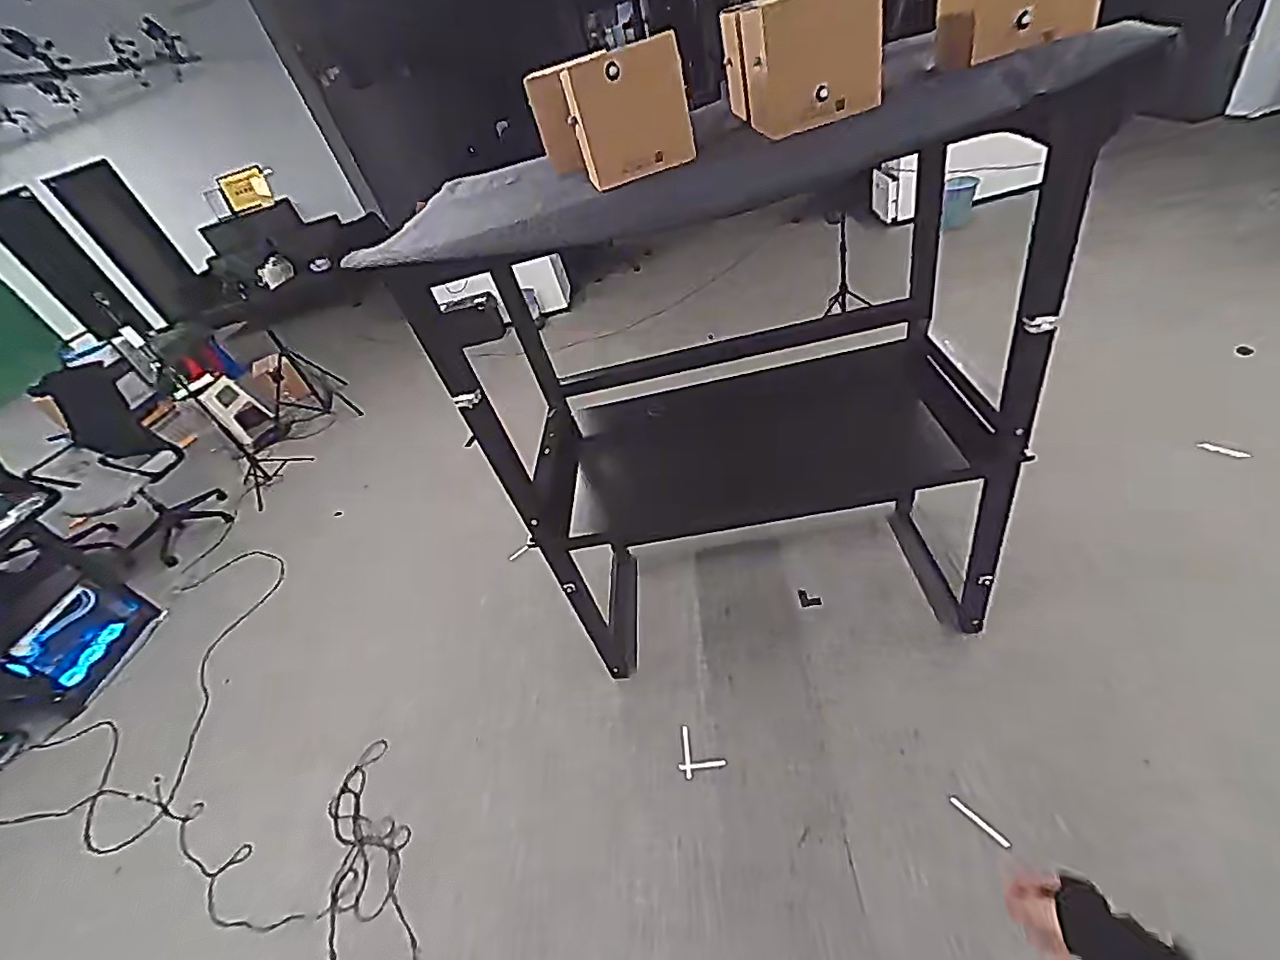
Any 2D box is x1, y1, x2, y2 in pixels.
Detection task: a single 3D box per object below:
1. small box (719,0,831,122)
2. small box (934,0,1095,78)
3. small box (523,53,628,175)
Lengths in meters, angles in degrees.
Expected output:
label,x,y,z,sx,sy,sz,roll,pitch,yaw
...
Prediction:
label,x,y,z,sx,sy,sz,roll,pitch,yaw
small box,0.254,-0.799,1.021,0.168,0.176,0.179,-13,38,8
small box,0.566,-0.740,0.825,0.168,0.176,0.179,-8,40,14
small box,-0.124,-0.751,1.115,0.168,0.176,0.179,-13,40,7
